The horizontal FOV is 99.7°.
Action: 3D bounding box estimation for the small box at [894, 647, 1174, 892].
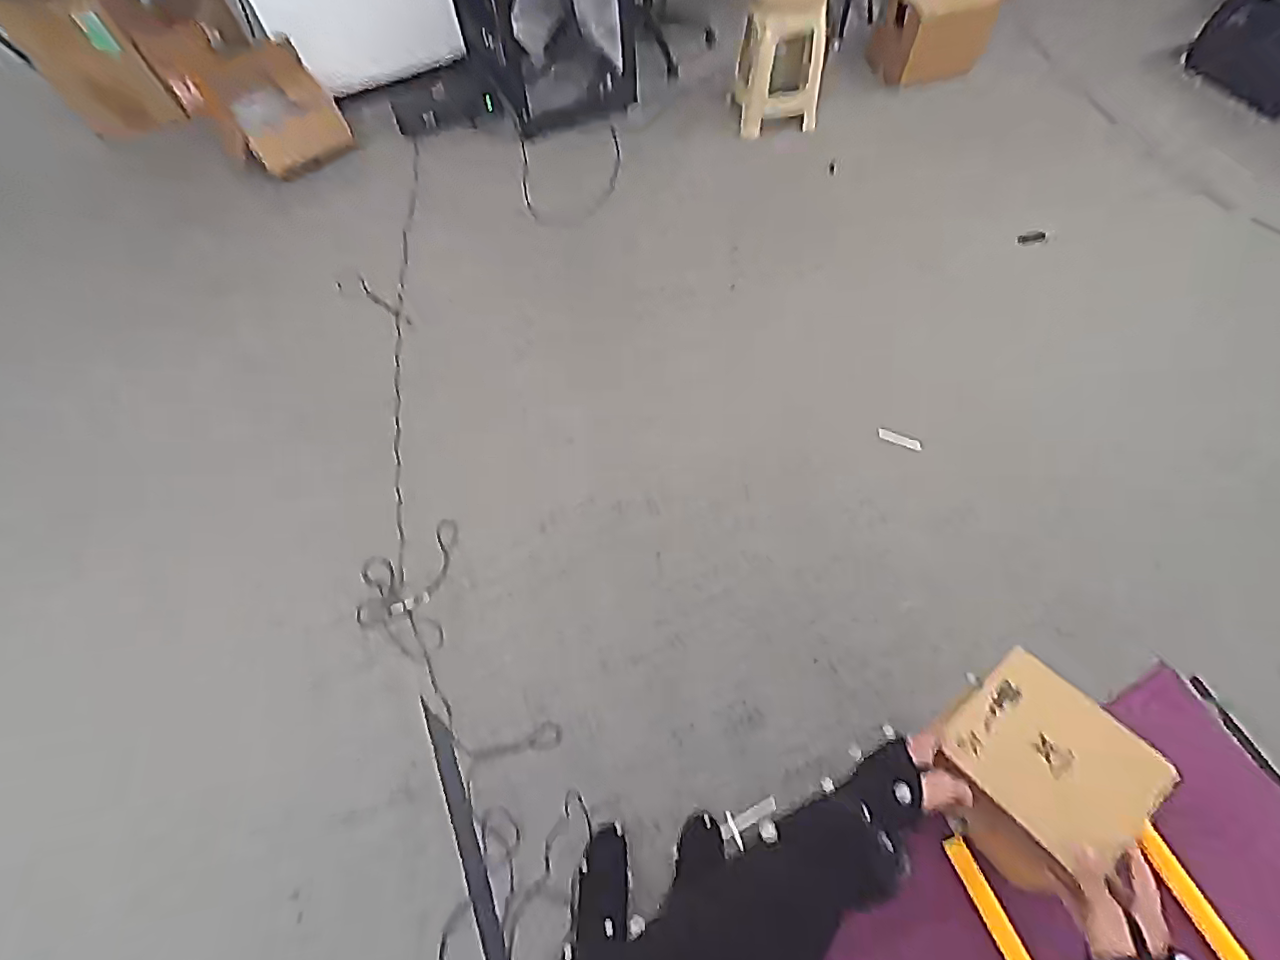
[{"bbox_3d":[0.443,0.336,0.641,0.168,0.176,0.179,-36,60,-17],"label":"small box"}]
